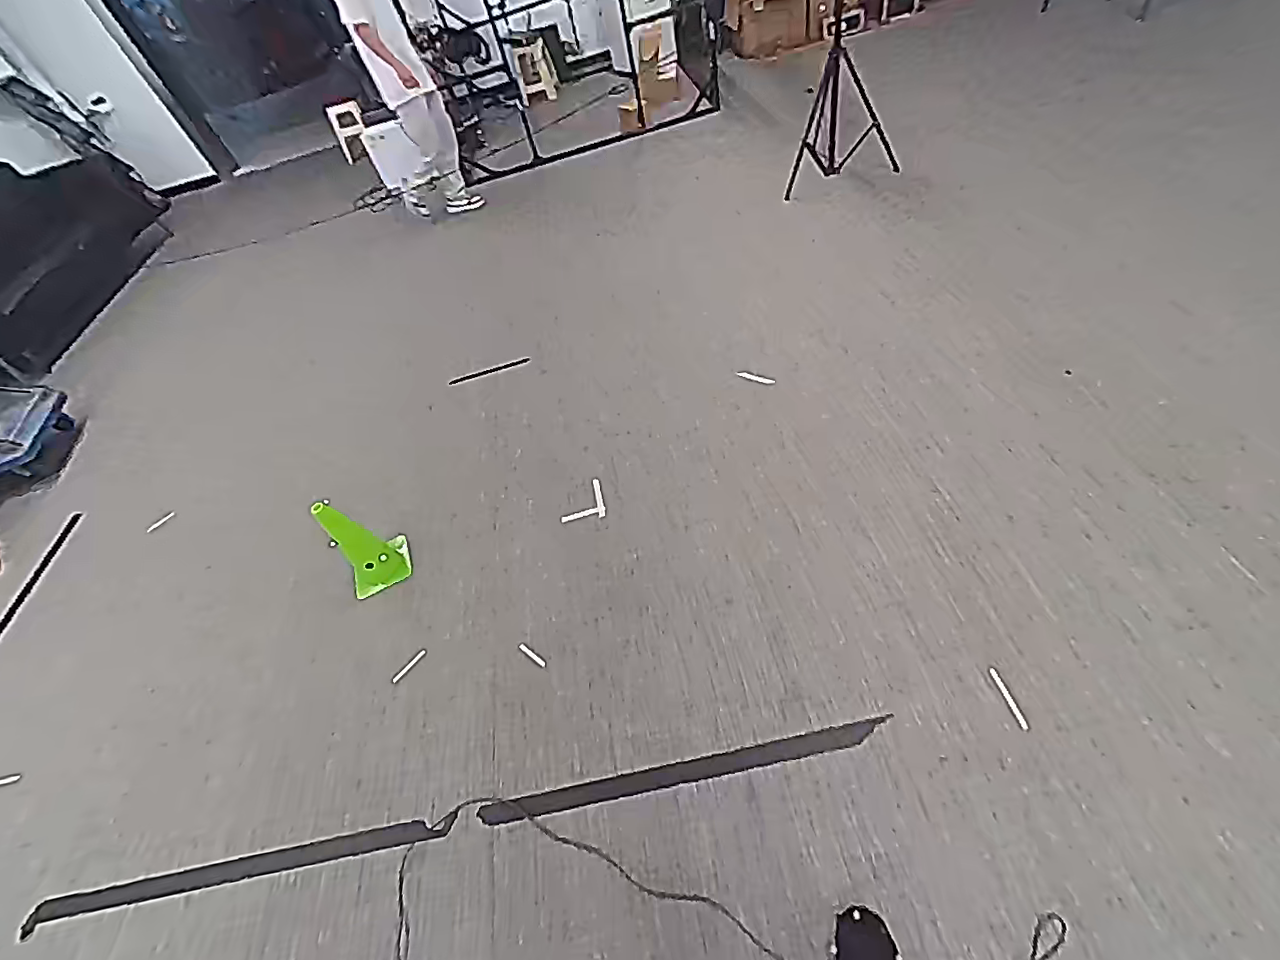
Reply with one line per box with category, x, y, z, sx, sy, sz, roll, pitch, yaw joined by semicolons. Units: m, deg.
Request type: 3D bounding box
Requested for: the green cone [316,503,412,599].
green cone;-0.944;0.202;1.785;0.202;0.368;0.200;-26;49;-8
